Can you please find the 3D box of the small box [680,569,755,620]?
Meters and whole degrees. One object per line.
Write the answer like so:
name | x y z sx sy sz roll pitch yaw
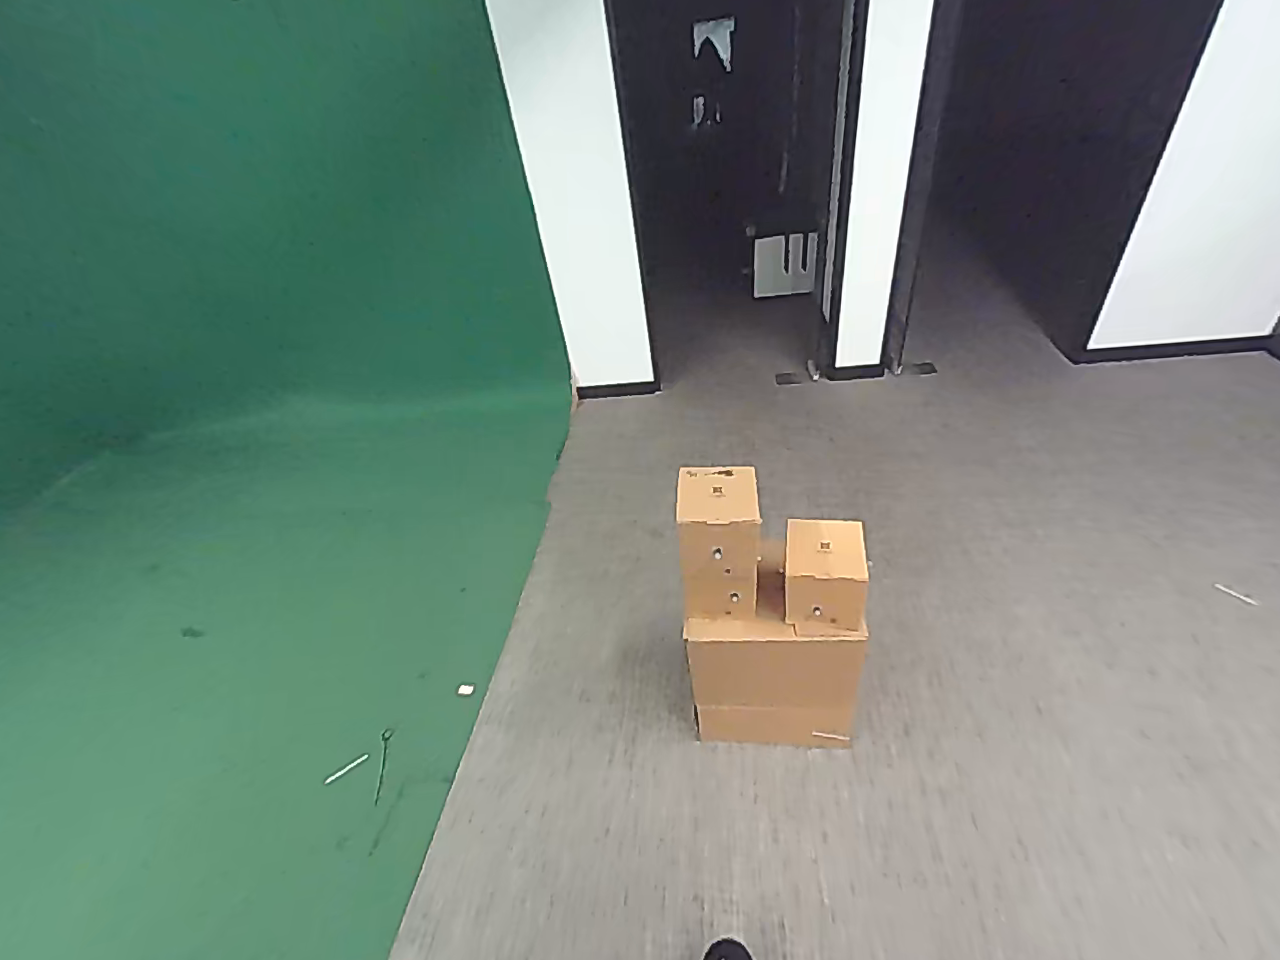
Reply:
small box | 0.188 0.215 1.283 0.168 0.176 0.179 0 39 9

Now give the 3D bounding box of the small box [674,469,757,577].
small box | 0.165 0.095 1.172 0.168 0.176 0.179 -1 40 8

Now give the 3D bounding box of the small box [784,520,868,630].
small box | 0.416 0.213 1.230 0.168 0.176 0.179 0 39 15
